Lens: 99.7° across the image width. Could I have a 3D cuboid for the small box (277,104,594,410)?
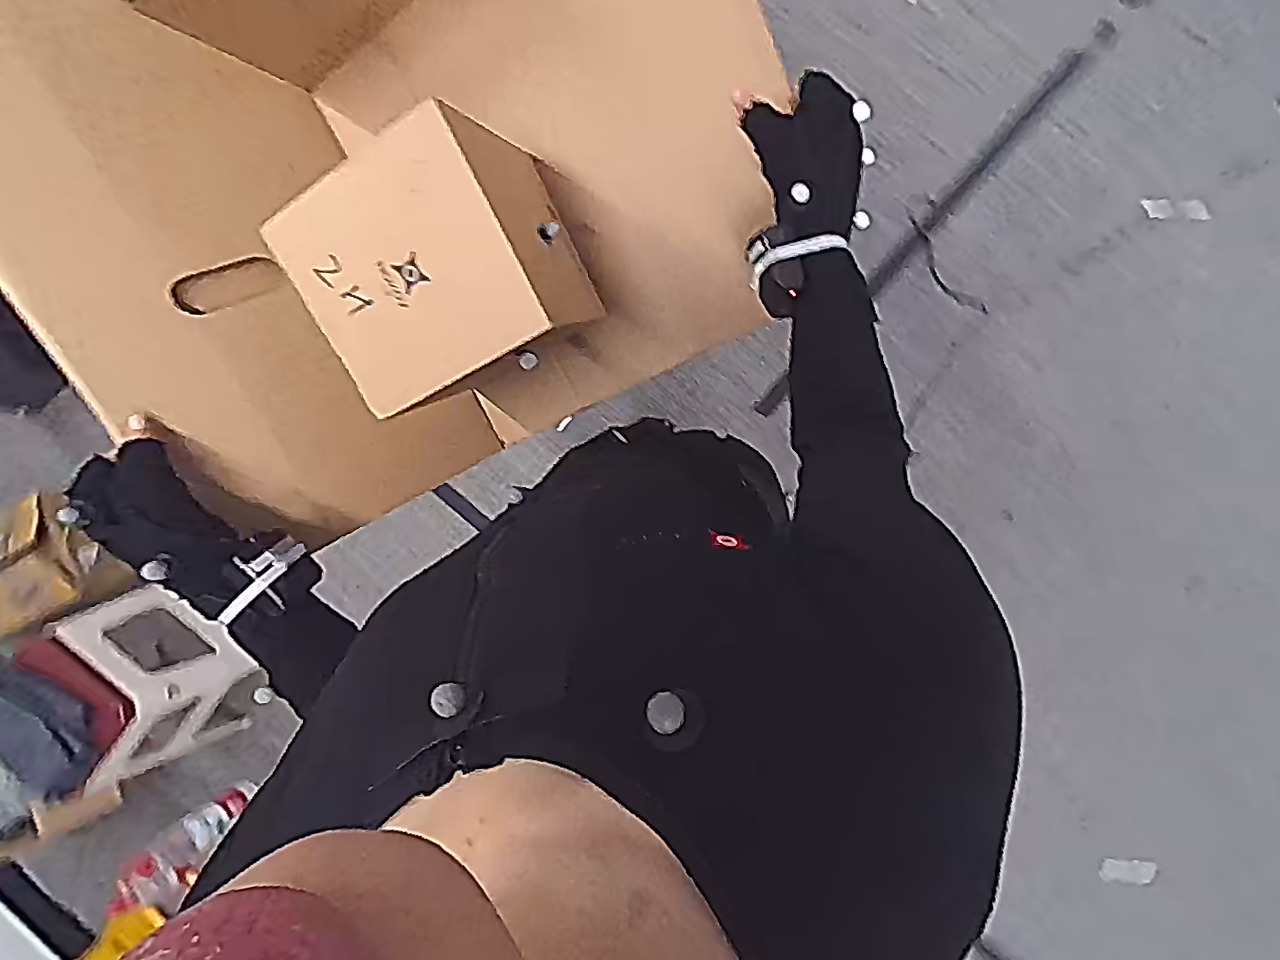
[{"bbox_3d":[-0.156,-0.184,0.483,0.179,0.176,0.168,-21,103,19],"label":"small box"}]
